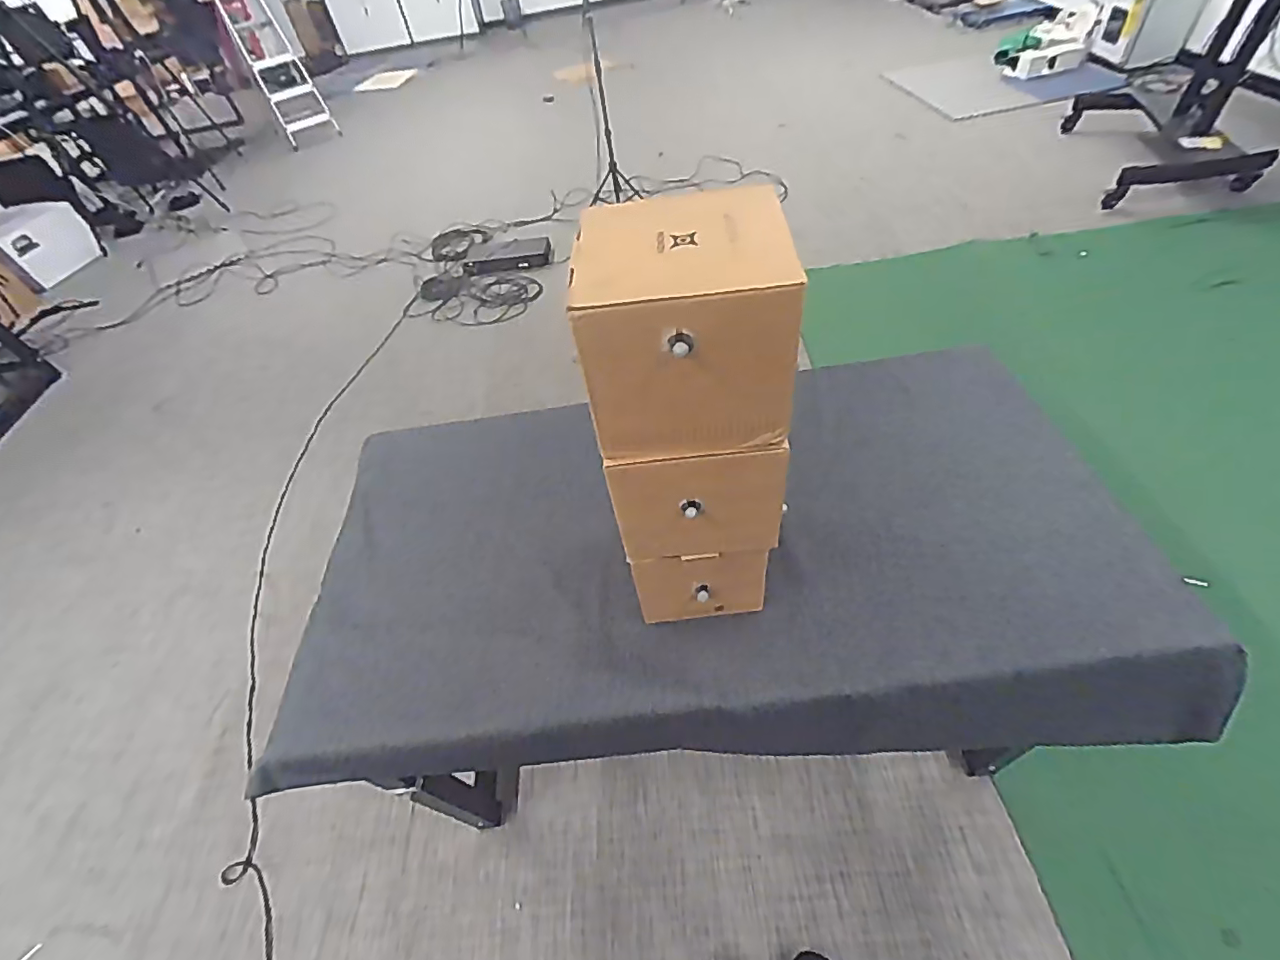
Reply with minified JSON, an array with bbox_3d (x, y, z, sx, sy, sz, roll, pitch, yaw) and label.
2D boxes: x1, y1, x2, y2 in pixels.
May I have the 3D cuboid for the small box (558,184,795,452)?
[{"bbox_3d":[0.037,-0.141,0.498,0.179,0.176,0.168,-5,51,6],"label":"small box"}]

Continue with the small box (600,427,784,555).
[{"bbox_3d":[0.058,-0.032,0.616,0.179,0.176,0.168,-7,49,6],"label":"small box"}]

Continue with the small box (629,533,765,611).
[{"bbox_3d":[0.074,0.067,0.747,0.168,0.176,0.179,-9,50,3],"label":"small box"}]
